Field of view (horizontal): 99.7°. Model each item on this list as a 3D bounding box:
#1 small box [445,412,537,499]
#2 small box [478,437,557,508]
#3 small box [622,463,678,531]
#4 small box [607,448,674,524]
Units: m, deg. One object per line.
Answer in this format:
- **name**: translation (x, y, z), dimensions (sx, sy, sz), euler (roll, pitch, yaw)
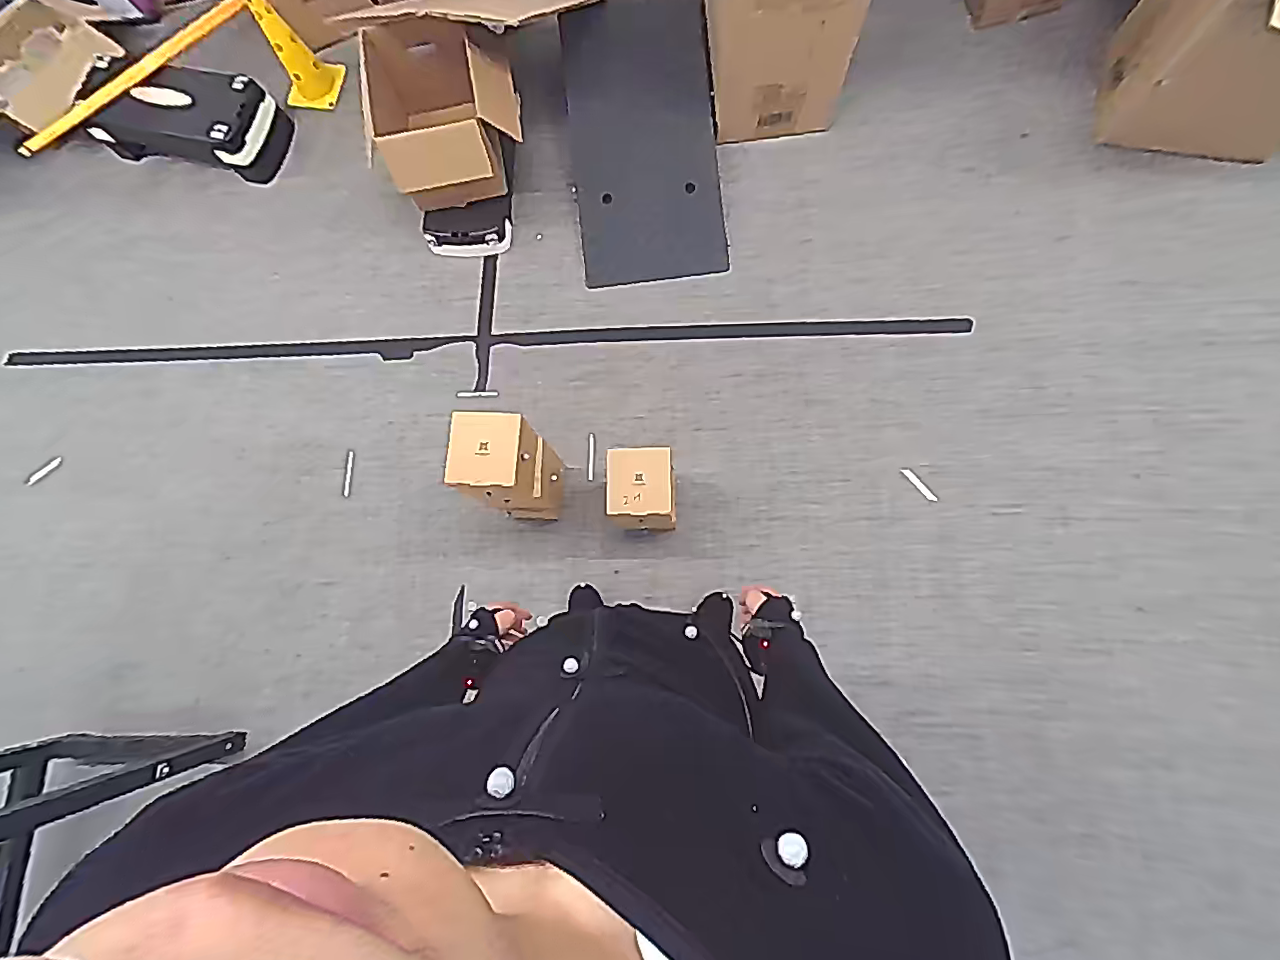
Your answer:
- **small box**: translation (-0.352, -0.055, 1.314), dimensions (0.168, 0.176, 0.179), euler (2, 79, 3)
- **small box**: translation (-0.333, -0.016, 1.471), dimensions (0.179, 0.176, 0.168), euler (0, 78, 2)
- **small box**: translation (0.028, 0.054, 1.604), dimensions (0.168, 0.176, 0.179), euler (-2, 79, 4)
- **small box**: translation (0.005, 0.019, 1.445), dimensions (0.168, 0.176, 0.179), euler (-1, 79, 5)
